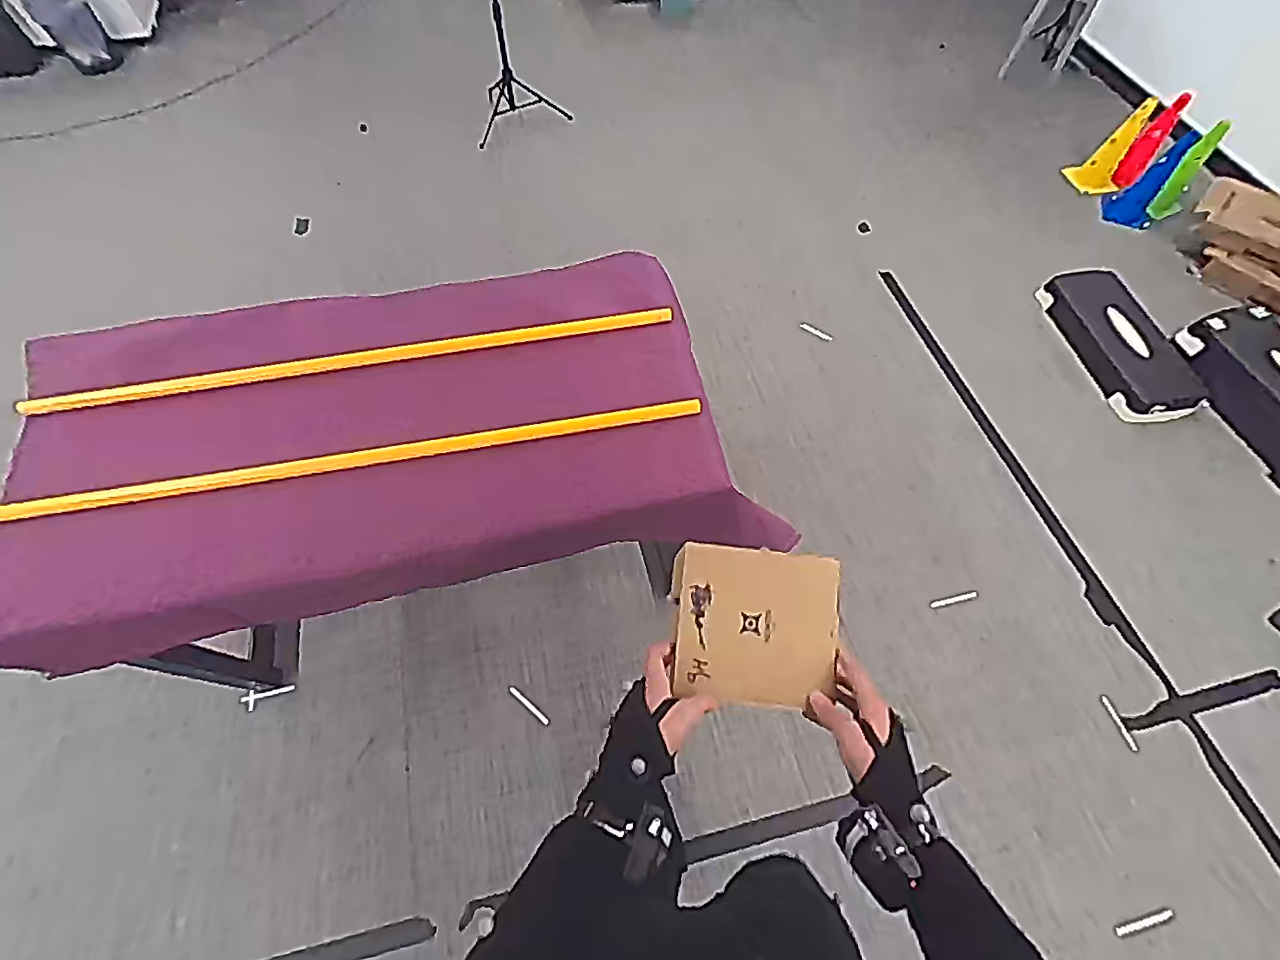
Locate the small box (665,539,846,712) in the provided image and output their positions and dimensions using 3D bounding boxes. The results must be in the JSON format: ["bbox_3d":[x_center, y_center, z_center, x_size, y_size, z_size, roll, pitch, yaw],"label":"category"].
[{"bbox_3d":[0.130,0.171,0.660,0.179,0.176,0.168,7,77,1],"label":"small box"}]
